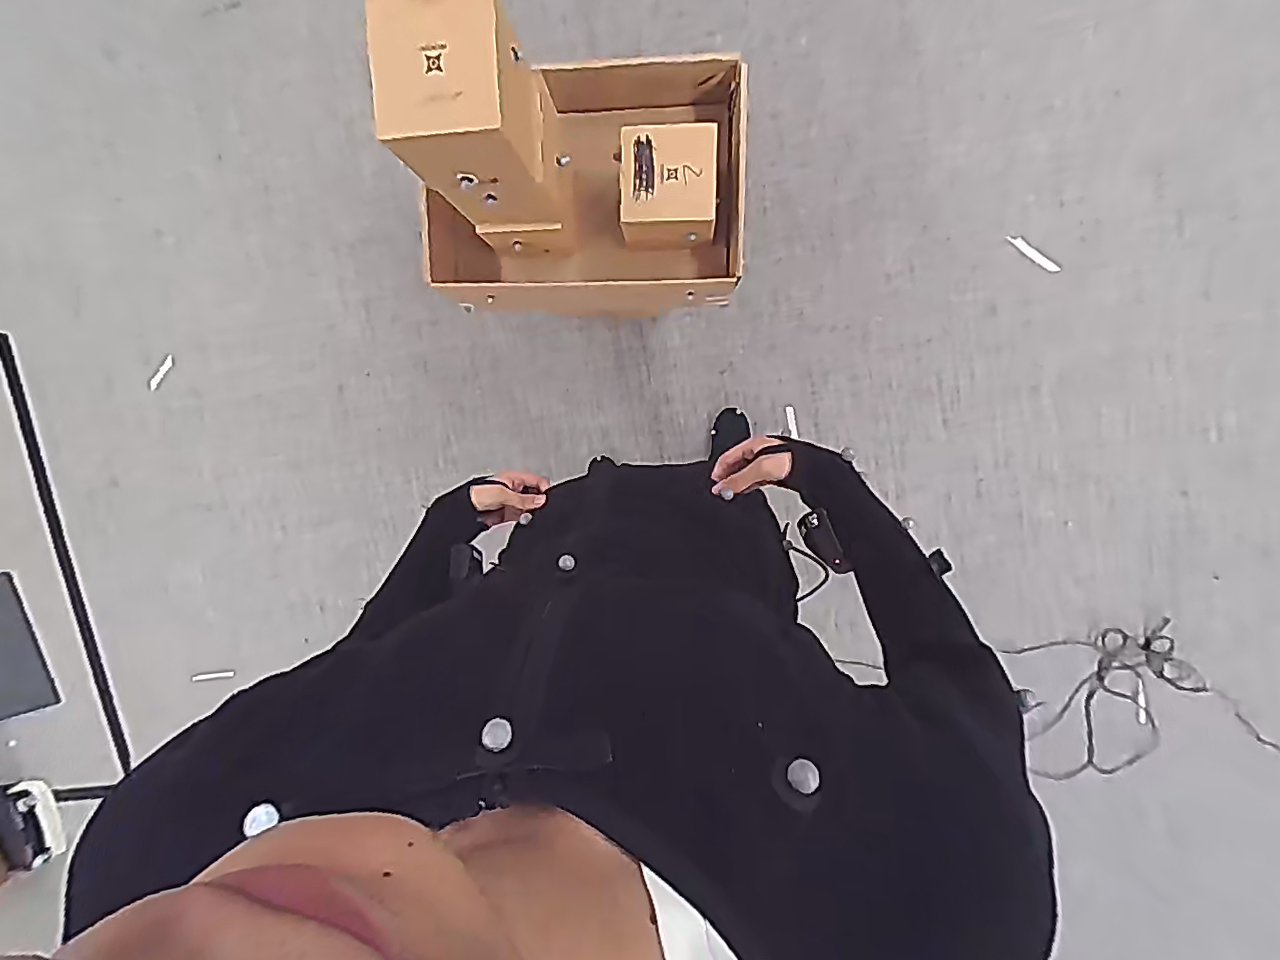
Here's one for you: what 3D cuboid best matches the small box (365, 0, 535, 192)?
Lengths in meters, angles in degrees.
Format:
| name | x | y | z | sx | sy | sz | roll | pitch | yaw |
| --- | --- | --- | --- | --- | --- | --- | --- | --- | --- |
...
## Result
| name | x | y | z | sx | sy | sz | roll | pitch | yaw |
| --- | --- | --- | --- | --- | --- | --- | --- | --- | --- |
| small box | -0.247 | -0.524 | 0.740 | 0.168 | 0.176 | 0.179 | -2 | 96 | 5 |

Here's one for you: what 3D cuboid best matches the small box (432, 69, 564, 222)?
| name | x | y | z | sx | sy | sz | roll | pitch | yaw |
| --- | --- | --- | --- | --- | --- | --- | --- | --- | --- |
| small box | -0.230 | -0.544 | 0.902 | 0.179 | 0.176 | 0.168 | 0 | 97 | 4 |

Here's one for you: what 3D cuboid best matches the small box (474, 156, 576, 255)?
| name | x | y | z | sx | sy | sz | roll | pitch | yaw |
| --- | --- | --- | --- | --- | --- | --- | --- | --- | --- |
| small box | -0.222 | -0.555 | 1.066 | 0.168 | 0.176 | 0.179 | -1 | 96 | 4 |
